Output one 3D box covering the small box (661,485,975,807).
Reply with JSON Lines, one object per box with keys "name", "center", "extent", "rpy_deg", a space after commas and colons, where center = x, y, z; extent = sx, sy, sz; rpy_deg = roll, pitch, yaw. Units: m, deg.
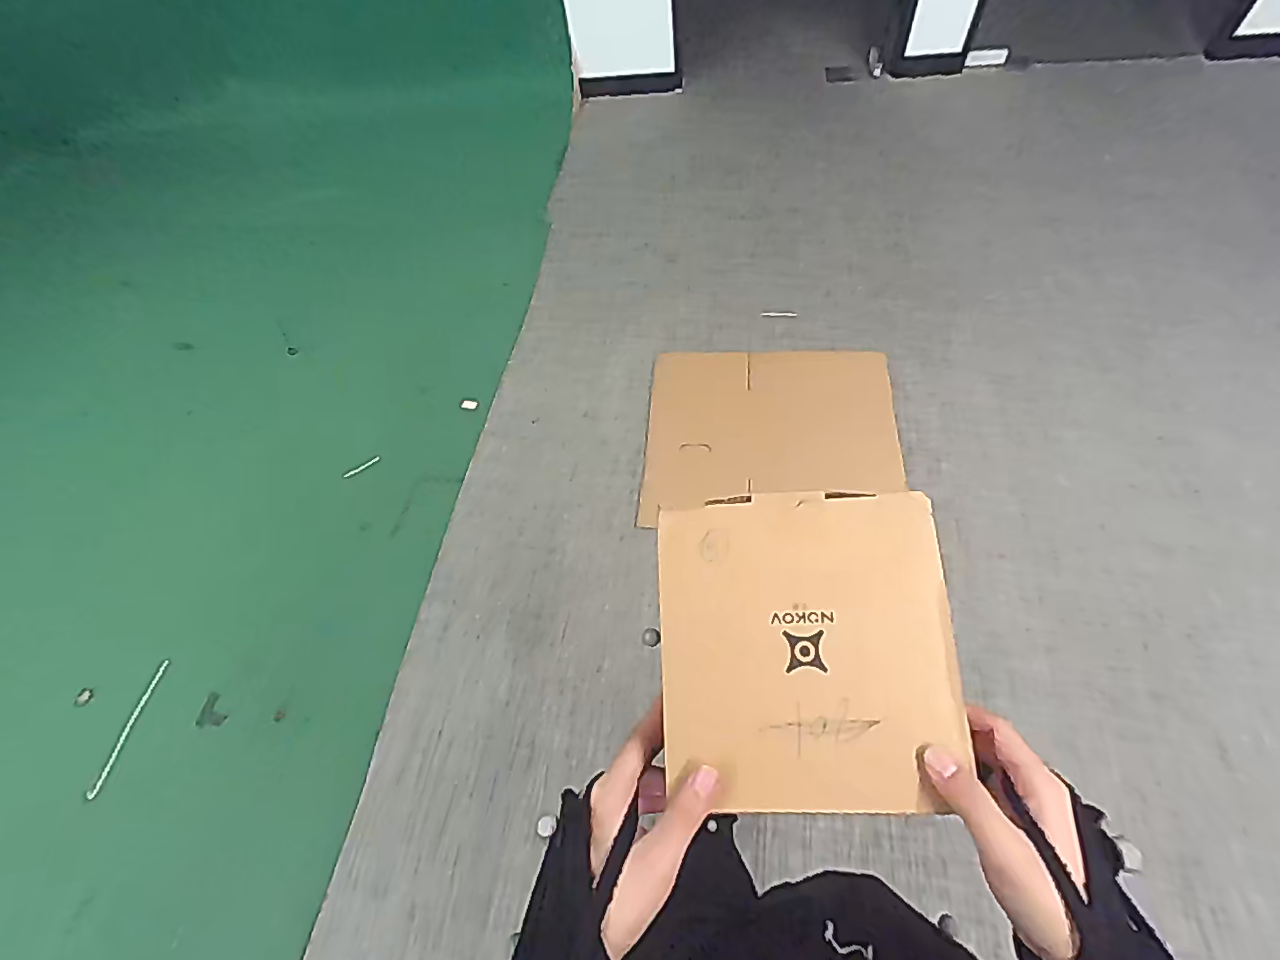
{"name": "small box", "center": [0.101, 0.109, 0.387], "extent": [0.168, 0.176, 0.179], "rpy_deg": [-2, 76, 6]}
